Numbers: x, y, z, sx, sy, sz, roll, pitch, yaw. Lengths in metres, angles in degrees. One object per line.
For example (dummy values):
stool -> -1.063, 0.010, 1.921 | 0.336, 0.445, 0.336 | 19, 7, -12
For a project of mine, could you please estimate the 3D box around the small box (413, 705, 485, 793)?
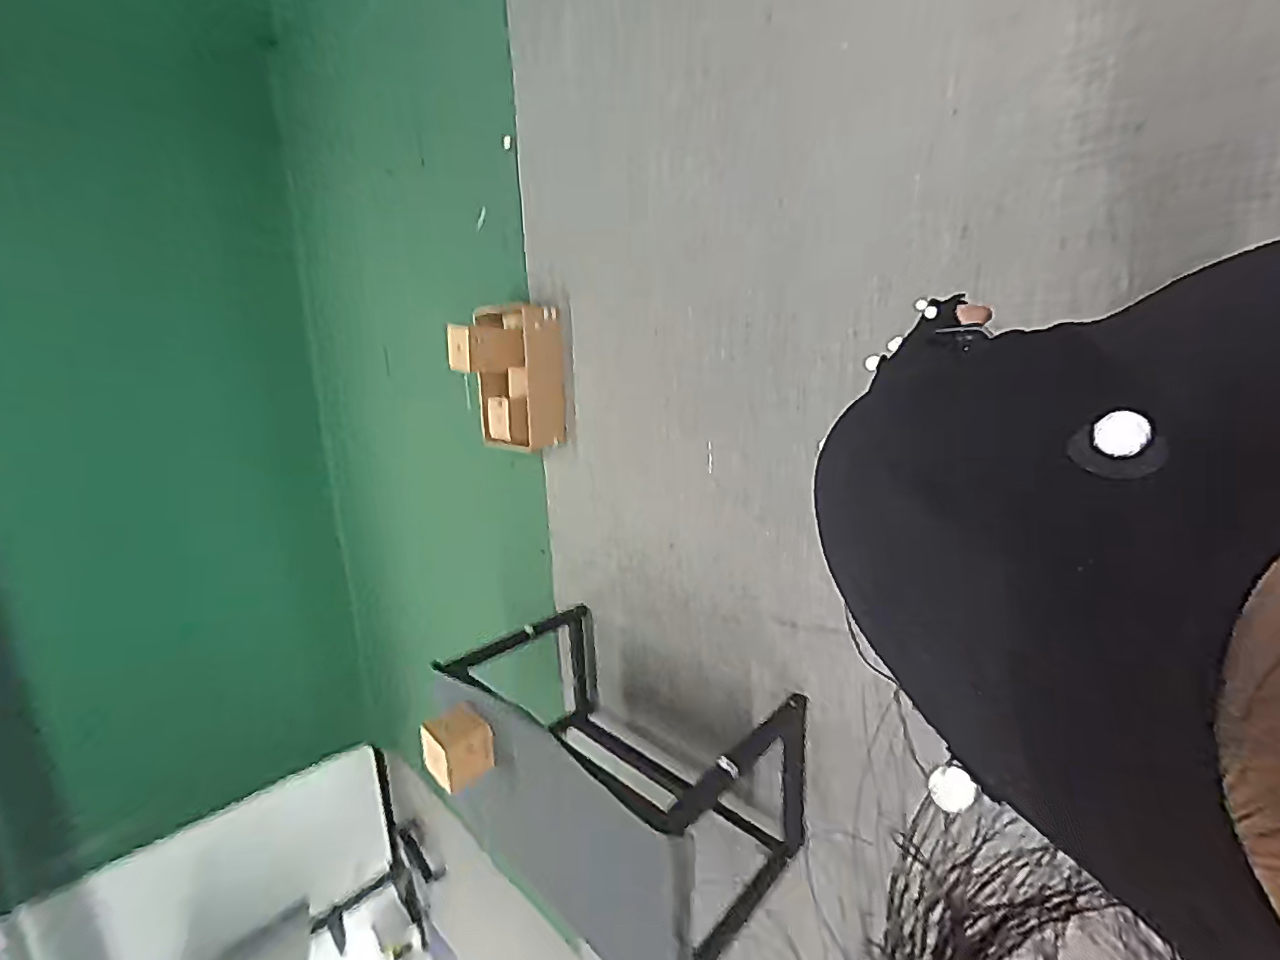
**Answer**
small box -> -0.631, 0.887, 1.802 | 0.179, 0.176, 0.168 | 13, 109, 42

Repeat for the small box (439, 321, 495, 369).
small box -> -0.719, -0.567, 2.259 | 0.168, 0.176, 0.179 | 19, 114, 39

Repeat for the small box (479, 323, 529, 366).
small box -> -0.611, -0.597, 2.380 | 0.179, 0.176, 0.168 | 18, 113, 38
